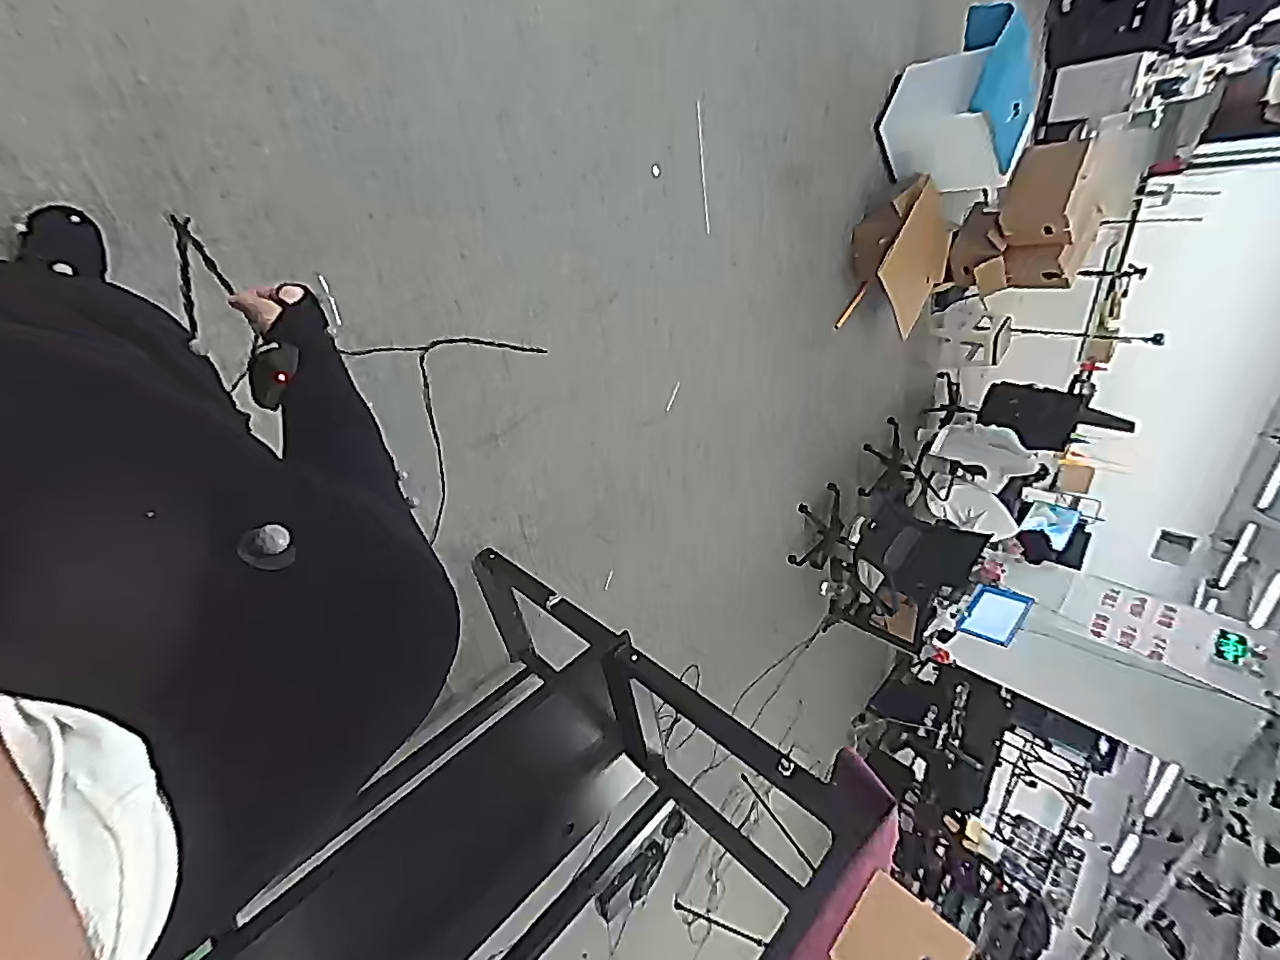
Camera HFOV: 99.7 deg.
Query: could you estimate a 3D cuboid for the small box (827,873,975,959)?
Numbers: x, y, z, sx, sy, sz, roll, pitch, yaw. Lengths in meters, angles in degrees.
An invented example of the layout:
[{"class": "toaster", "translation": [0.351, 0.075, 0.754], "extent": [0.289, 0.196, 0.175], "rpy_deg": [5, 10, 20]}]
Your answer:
[{"class": "small box", "translation": [0.431, 0.827, 0.915], "extent": [0.179, 0.176, 0.168], "rpy_deg": [-31, 127, -33]}]
